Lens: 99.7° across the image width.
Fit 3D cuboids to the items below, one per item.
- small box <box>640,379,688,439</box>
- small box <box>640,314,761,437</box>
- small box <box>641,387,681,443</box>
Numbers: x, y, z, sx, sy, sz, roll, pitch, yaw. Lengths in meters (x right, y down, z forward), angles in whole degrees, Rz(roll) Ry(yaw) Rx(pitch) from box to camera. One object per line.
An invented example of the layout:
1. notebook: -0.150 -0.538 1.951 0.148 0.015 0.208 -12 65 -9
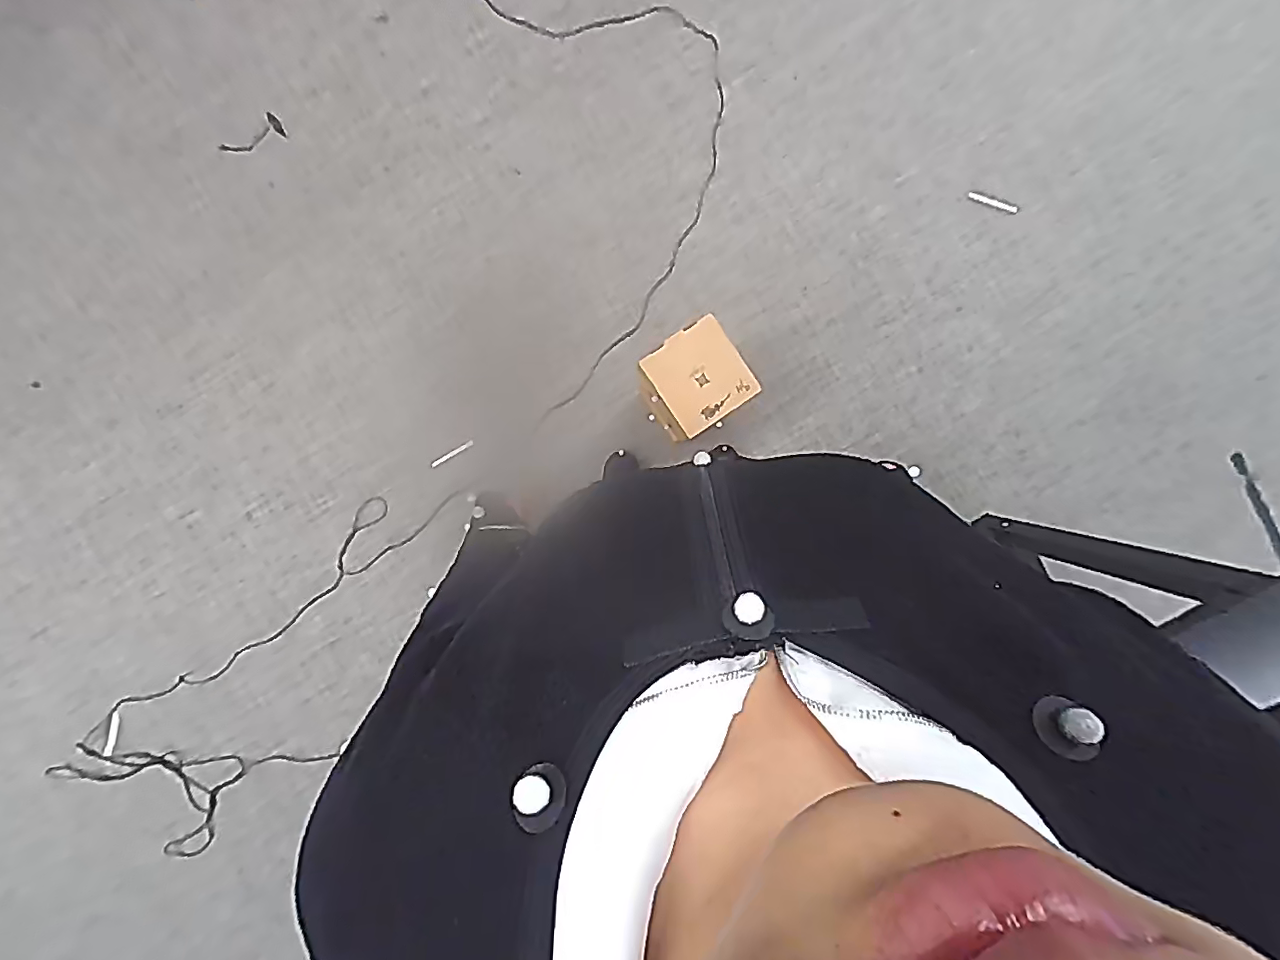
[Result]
1. small box: 0.116 -0.206 1.245 0.179 0.176 0.168 -37 93 2
2. small box: 0.112 -0.197 1.082 0.168 0.176 0.179 -34 92 3
3. small box: 0.115 -0.211 1.408 0.179 0.176 0.168 -34 92 4
